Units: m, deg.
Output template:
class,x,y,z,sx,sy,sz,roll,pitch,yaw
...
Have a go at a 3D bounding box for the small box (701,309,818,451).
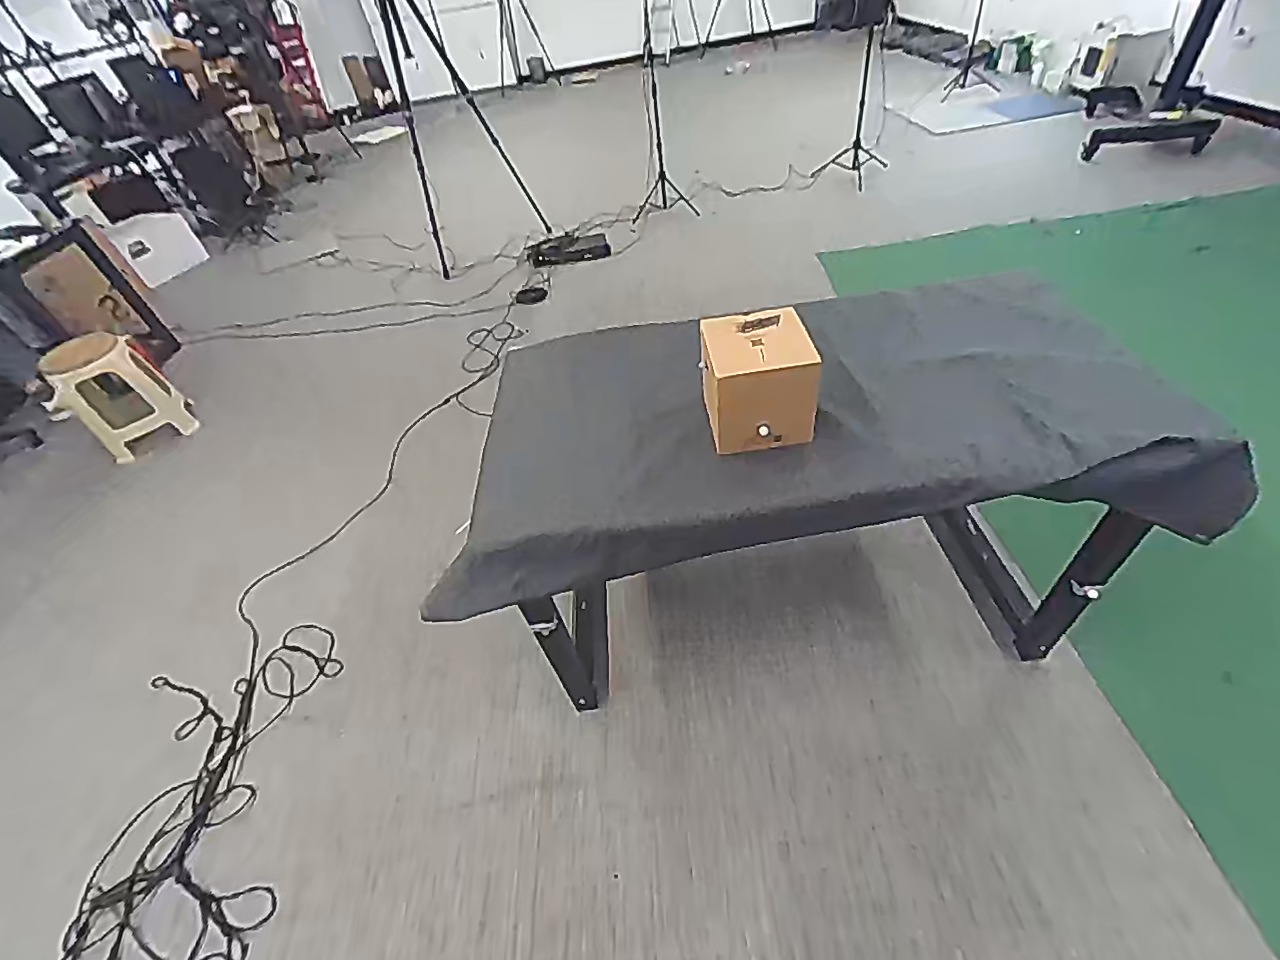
class,x,y,z,sx,sy,sz,roll,pitch,yaw
small box,0.200,-0.174,0.950,0.168,0.176,0.179,-8,46,3
